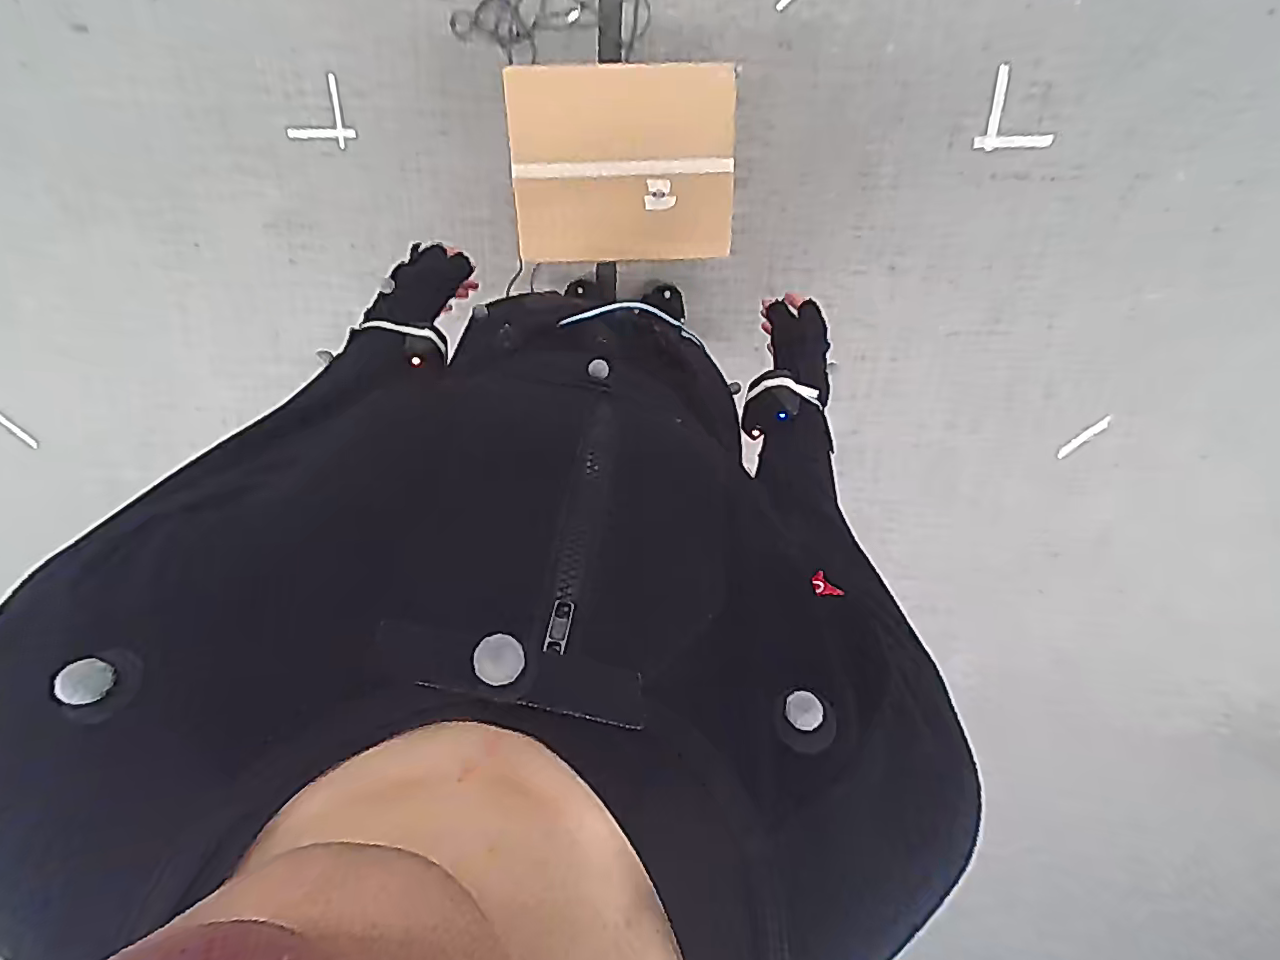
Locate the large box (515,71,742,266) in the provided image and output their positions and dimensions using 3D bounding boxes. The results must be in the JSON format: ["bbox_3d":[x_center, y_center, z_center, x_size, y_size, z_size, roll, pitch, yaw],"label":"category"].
[{"bbox_3d":[-0.022,-0.620,1.134,0.408,0.320,0.320,-1,112,-1],"label":"large box"}]
